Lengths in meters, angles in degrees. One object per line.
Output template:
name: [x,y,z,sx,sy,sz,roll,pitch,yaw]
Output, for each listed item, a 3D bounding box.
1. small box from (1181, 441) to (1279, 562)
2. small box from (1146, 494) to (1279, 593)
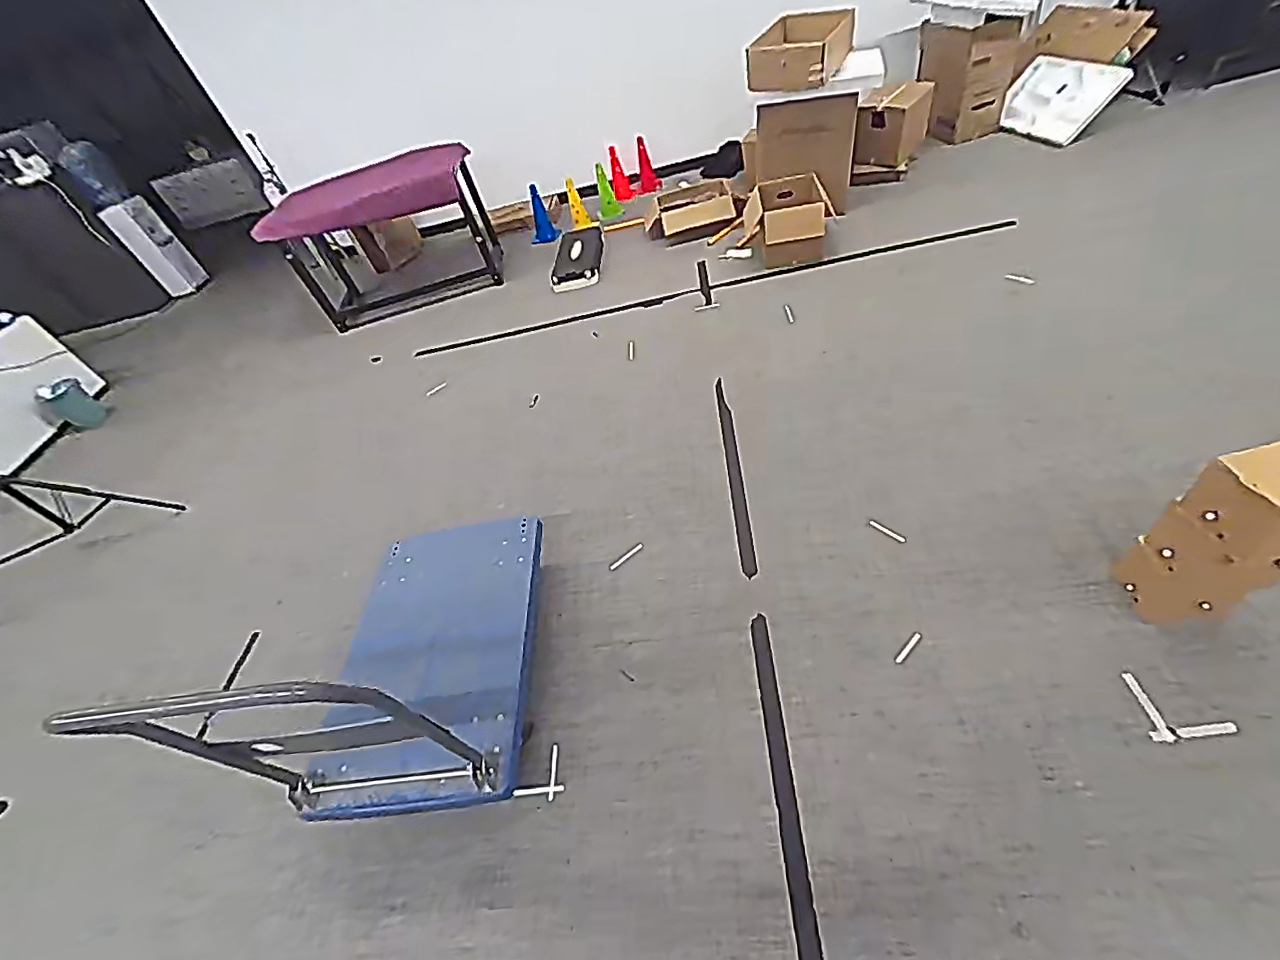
small box: [1.294,0.043,1.110,0.179,0.176,0.168,-15,45,4]
small box: [1.330,0.143,1.235,0.179,0.176,0.168,-7,45,12]
